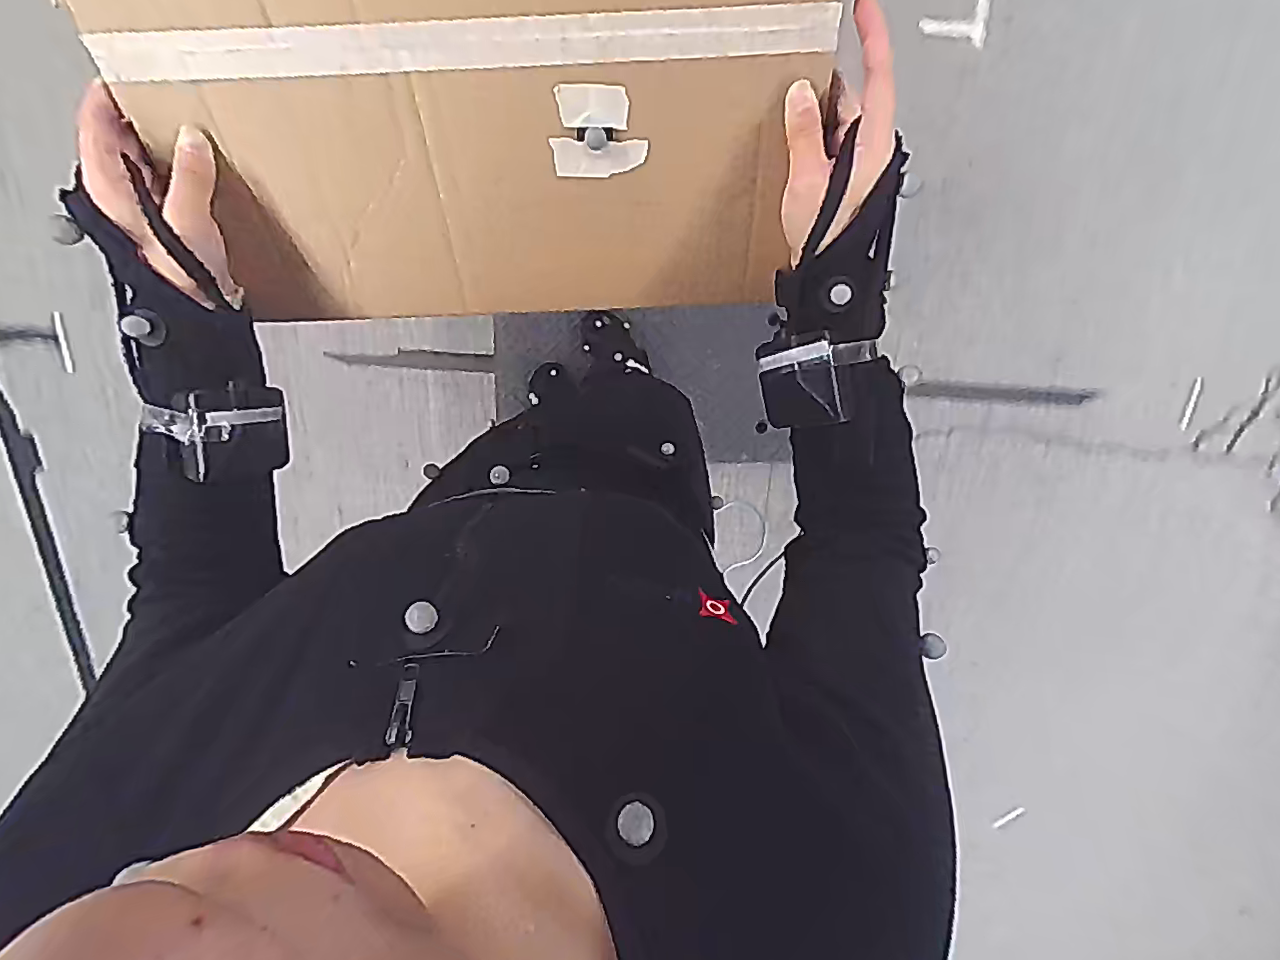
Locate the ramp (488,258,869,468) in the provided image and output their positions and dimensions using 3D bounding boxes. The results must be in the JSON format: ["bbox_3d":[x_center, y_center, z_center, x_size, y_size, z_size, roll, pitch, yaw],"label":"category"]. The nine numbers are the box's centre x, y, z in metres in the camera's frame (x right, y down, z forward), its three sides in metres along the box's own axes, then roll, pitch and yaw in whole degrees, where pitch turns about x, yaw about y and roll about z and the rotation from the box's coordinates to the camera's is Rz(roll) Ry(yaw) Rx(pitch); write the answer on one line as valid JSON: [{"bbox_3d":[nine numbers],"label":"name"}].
[{"bbox_3d":[0.130,-0.281,1.401,0.991,0.206,0.509,0,106,-5],"label":"ramp"}]
